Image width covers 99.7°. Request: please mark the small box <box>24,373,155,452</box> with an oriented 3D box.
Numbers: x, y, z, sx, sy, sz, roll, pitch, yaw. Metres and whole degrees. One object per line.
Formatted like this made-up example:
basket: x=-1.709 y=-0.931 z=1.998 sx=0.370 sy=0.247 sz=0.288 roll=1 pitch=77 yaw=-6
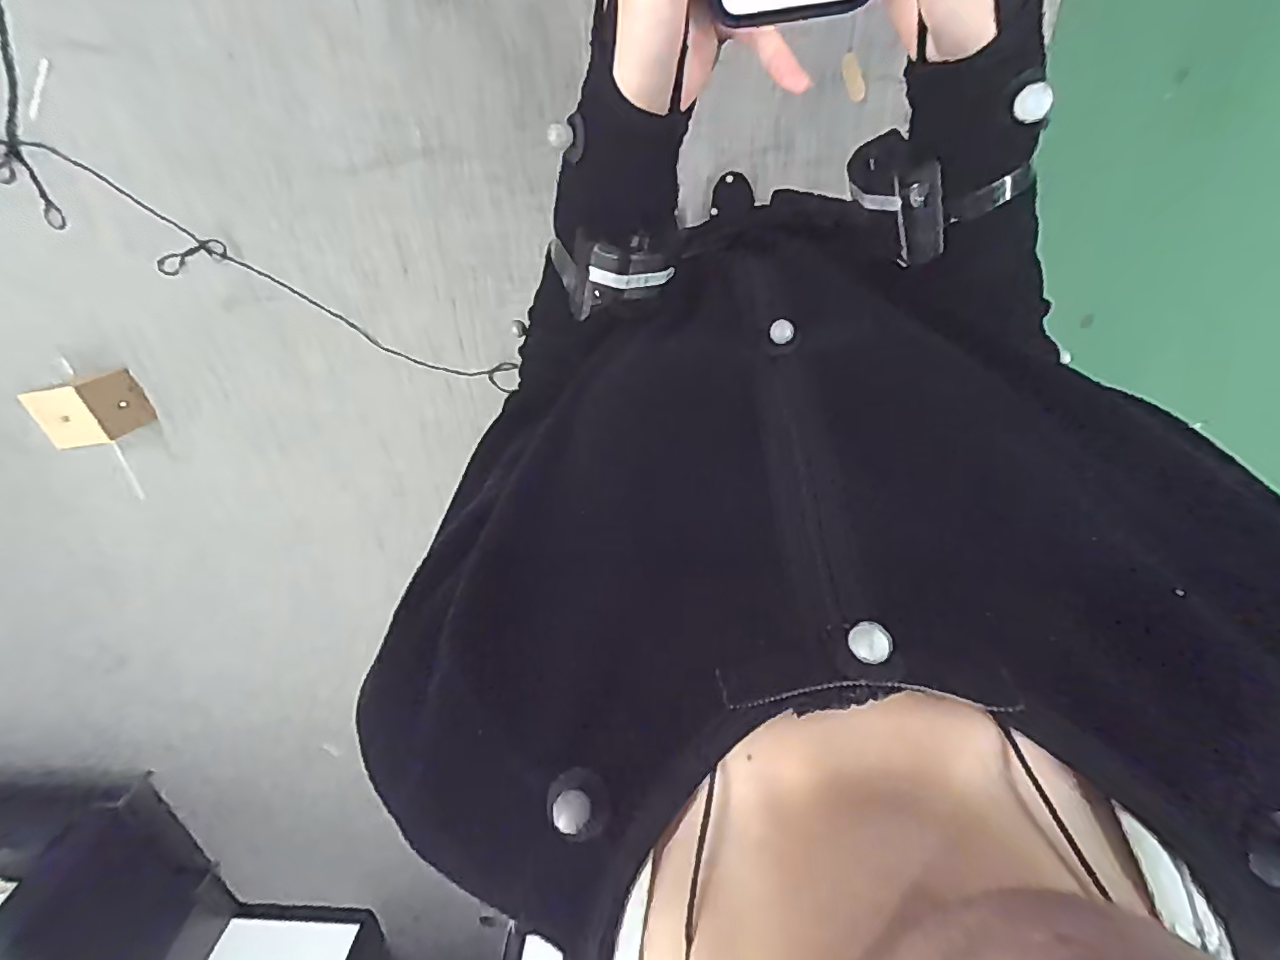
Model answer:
small box: x=-1.549 y=-0.197 z=1.543 sx=0.179 sy=0.176 sz=0.168 roll=-6 pitch=118 yaw=8
